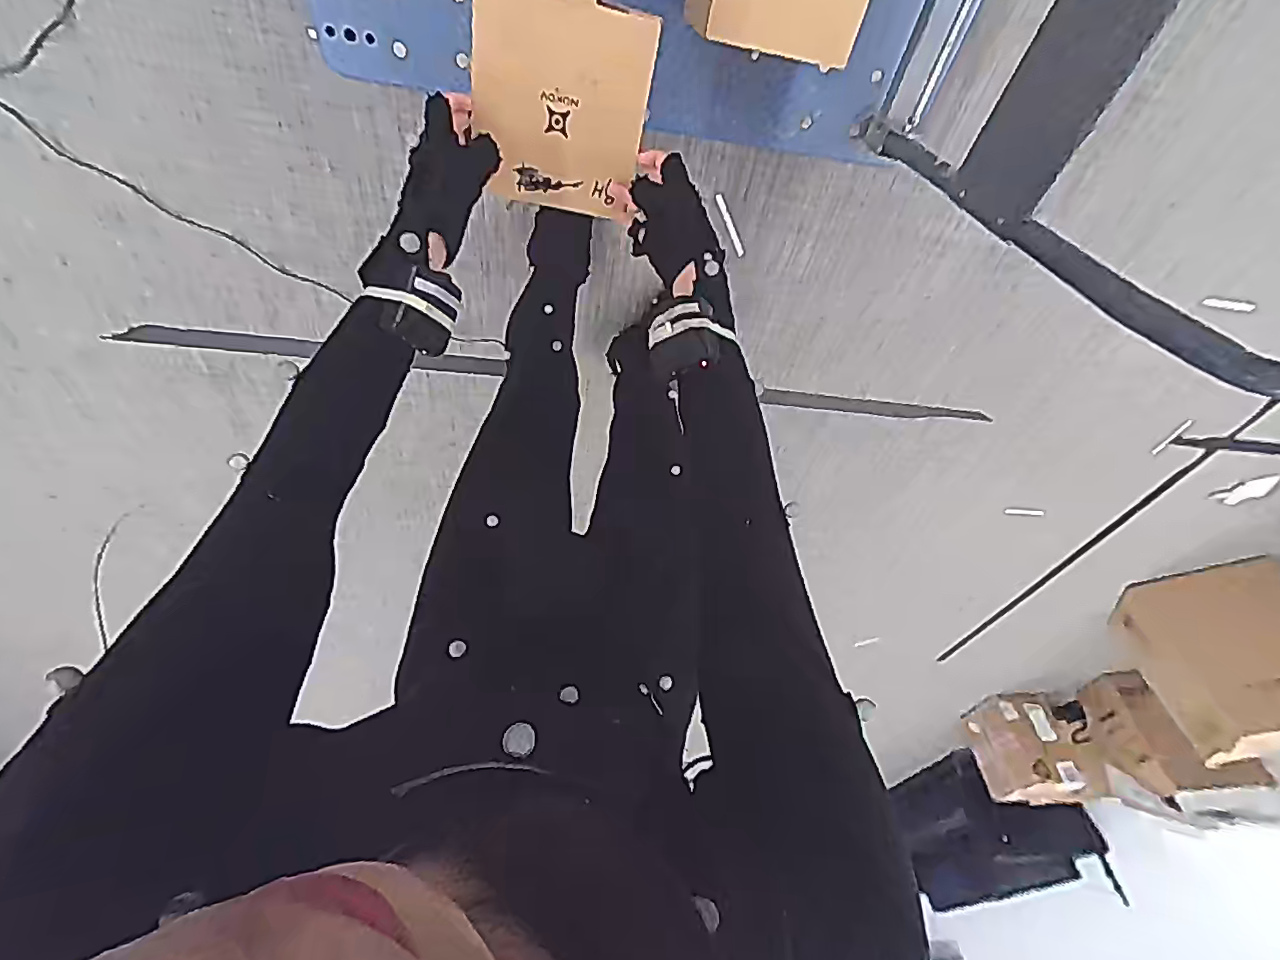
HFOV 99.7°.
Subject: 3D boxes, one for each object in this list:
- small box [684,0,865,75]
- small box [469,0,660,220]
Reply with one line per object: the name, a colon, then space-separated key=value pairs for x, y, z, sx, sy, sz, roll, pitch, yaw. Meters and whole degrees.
small box: x=0.158 y=-0.597 z=0.620 sx=0.179 sy=0.176 sz=0.168 roll=4 pitch=136 yaw=-12
small box: x=-0.086 y=-0.412 z=0.586 sx=0.168 sy=0.176 sz=0.179 roll=7 pitch=129 yaw=-12
